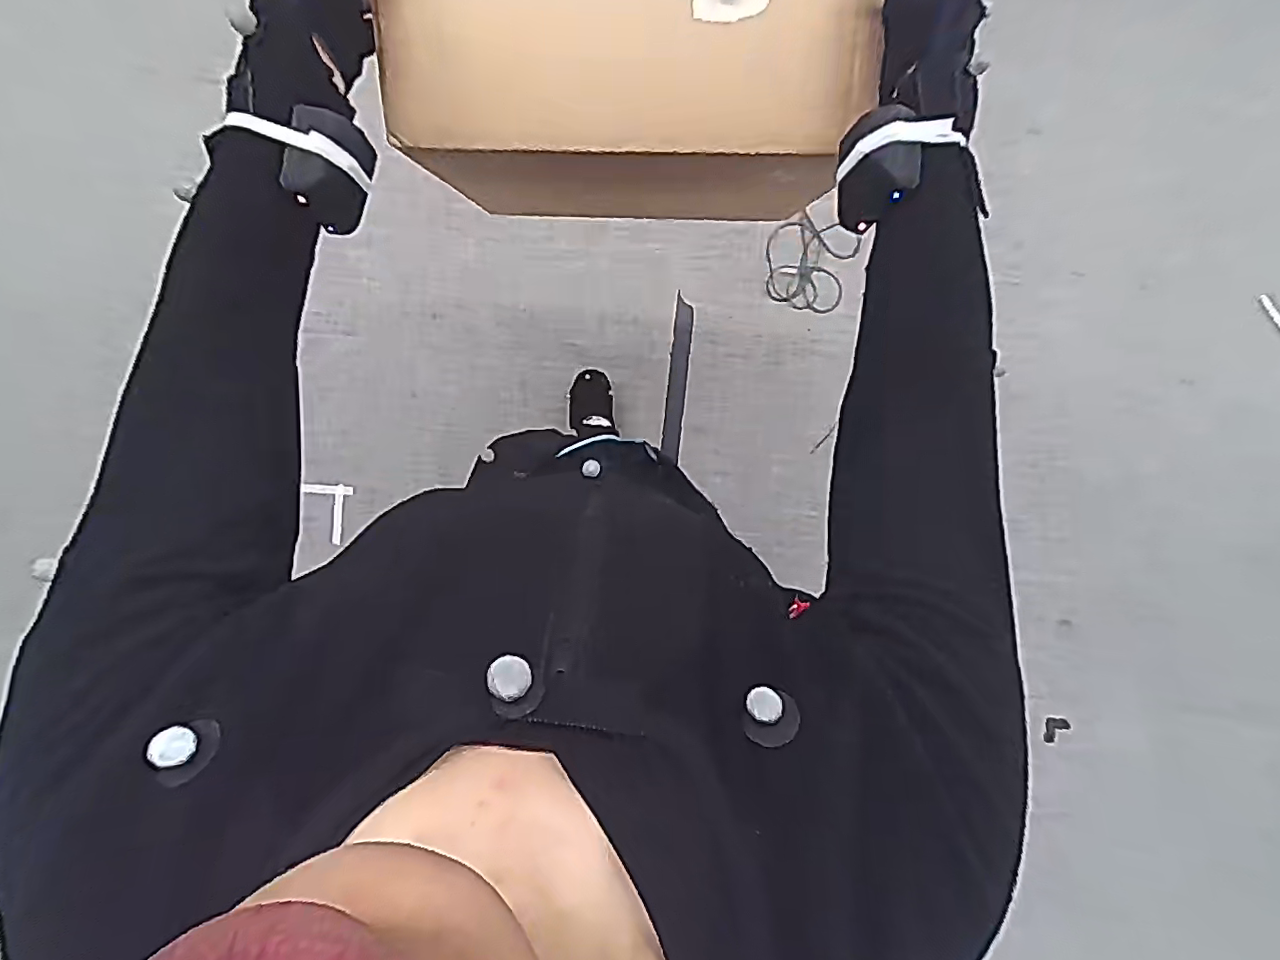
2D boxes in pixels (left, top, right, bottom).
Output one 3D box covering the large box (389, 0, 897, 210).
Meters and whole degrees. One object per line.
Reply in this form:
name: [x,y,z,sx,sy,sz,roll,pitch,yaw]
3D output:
large box: [0.000,-0.471,0.546,0.408,0.320,0.320,1,107,-1]
